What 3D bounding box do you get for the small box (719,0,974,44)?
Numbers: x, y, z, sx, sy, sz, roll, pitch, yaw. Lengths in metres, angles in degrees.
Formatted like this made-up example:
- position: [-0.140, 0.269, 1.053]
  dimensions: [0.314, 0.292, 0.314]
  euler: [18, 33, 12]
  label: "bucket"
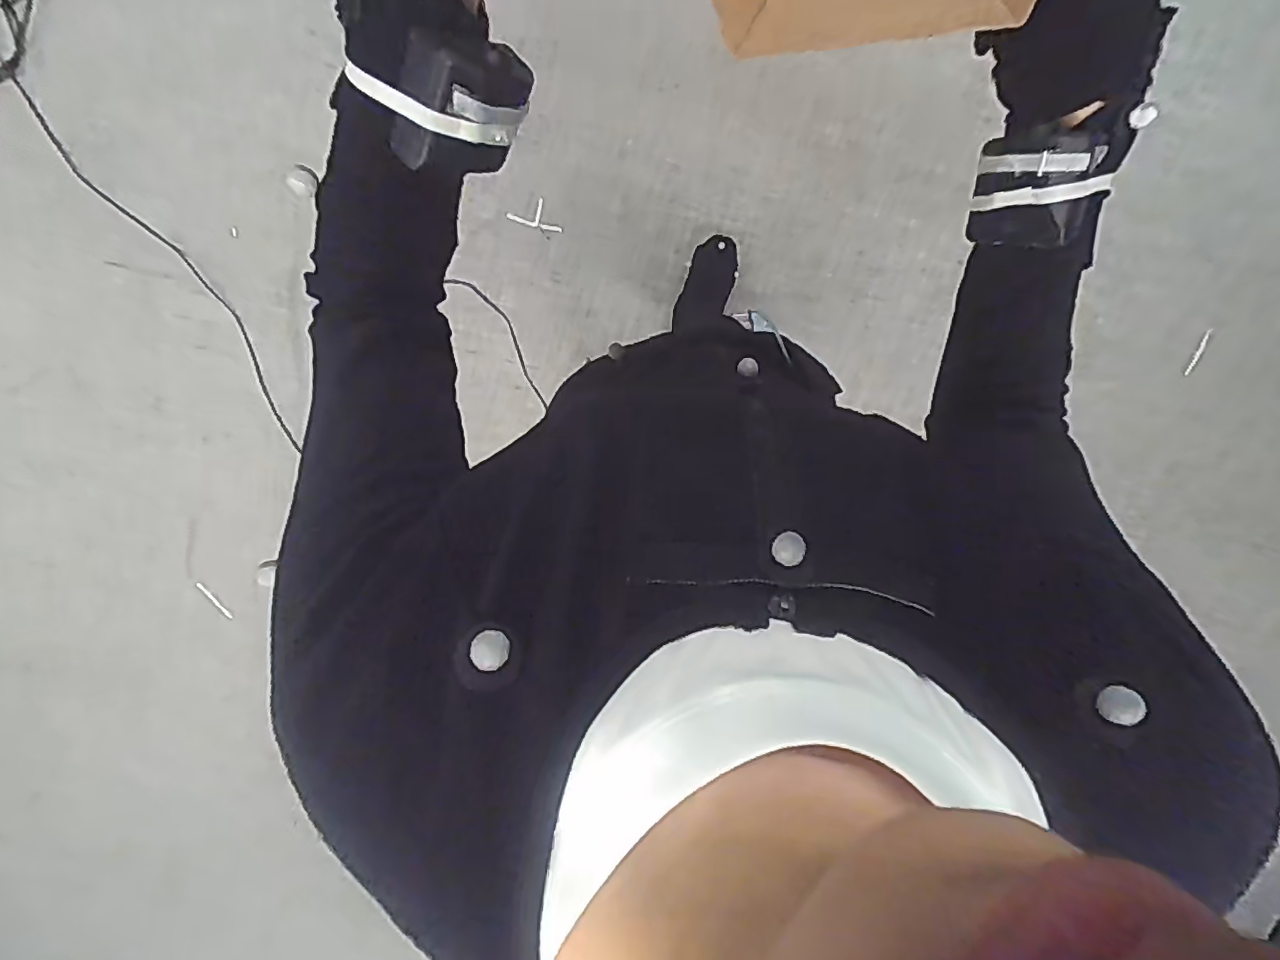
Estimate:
- position: [0.113, -0.338, 0.236]
  dimensions: [0.168, 0.179, 0.176]
  euler: [7, 99, 19]
  label: "small box"
